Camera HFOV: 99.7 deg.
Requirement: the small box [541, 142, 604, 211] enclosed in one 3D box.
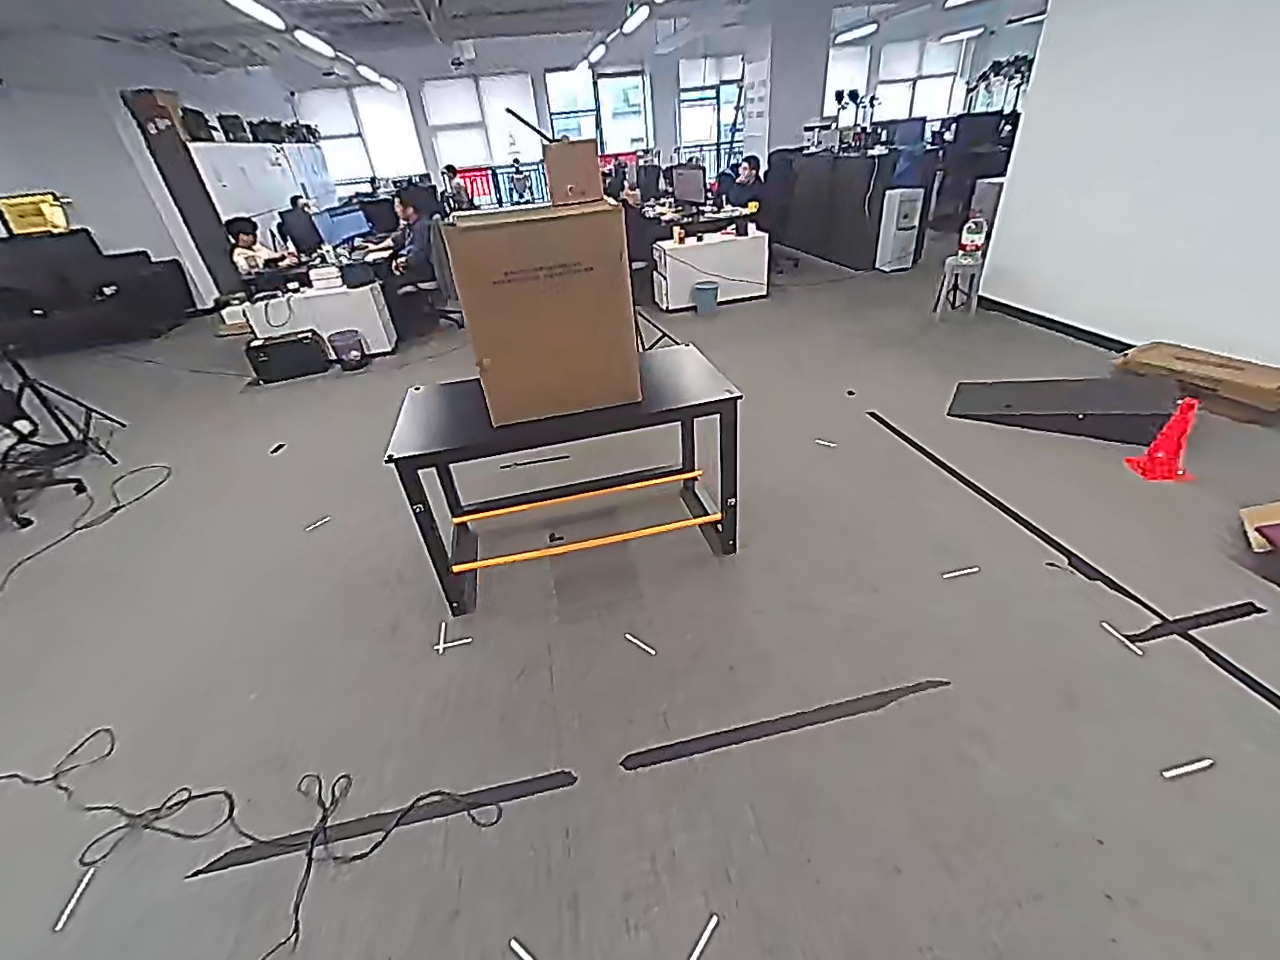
[{"bbox_3d":[-0.216,-0.963,1.718,0.168,0.176,0.179,-13,32,-5],"label":"small box"}]
